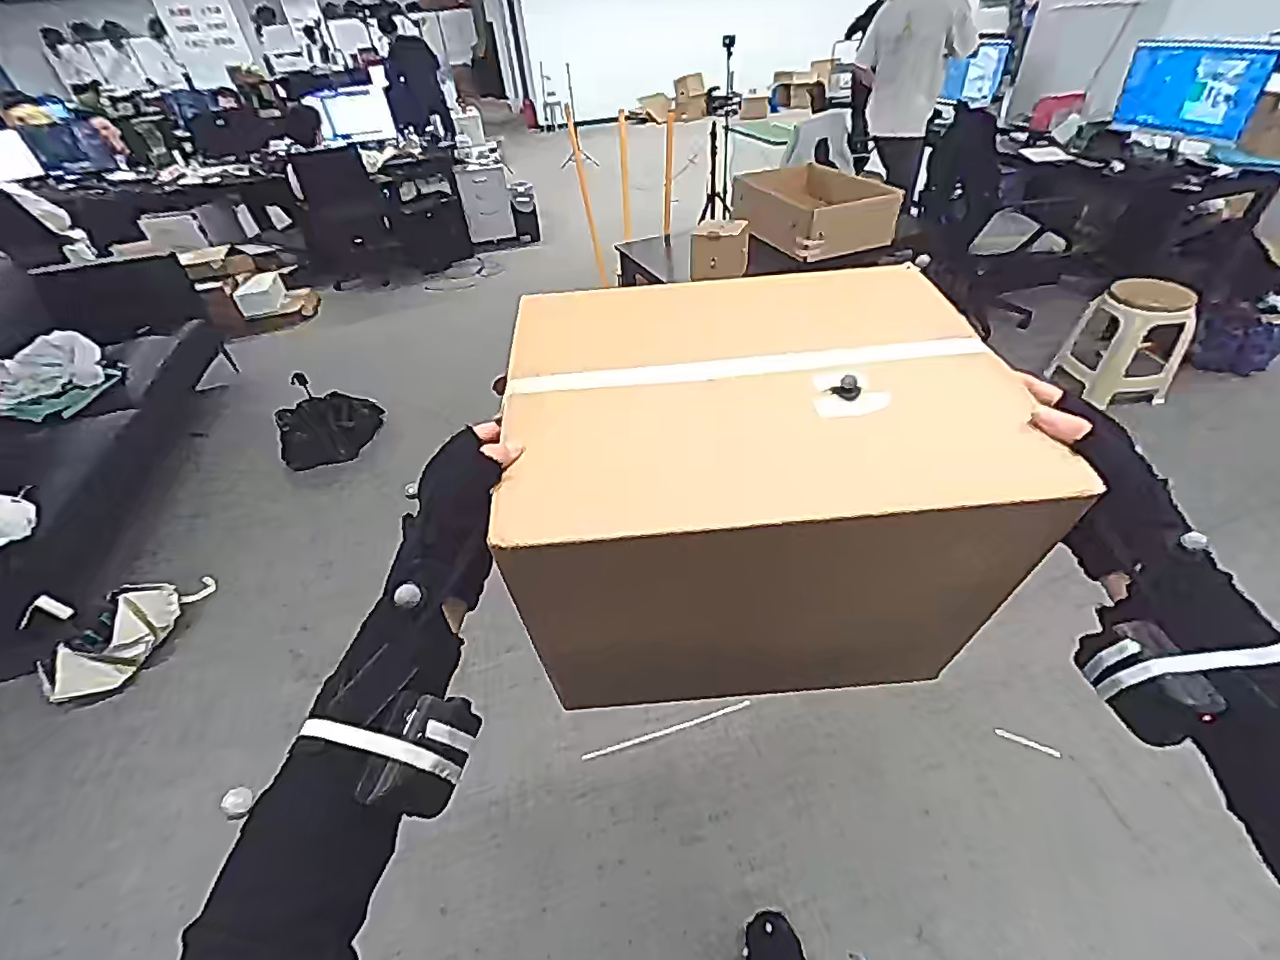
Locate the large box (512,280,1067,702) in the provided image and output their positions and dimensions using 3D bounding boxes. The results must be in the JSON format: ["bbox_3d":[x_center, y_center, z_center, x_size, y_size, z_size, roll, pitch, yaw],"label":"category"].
[{"bbox_3d":[0.098,0.015,0.583,0.408,0.320,0.320,-5,49,-2],"label":"large box"}]
